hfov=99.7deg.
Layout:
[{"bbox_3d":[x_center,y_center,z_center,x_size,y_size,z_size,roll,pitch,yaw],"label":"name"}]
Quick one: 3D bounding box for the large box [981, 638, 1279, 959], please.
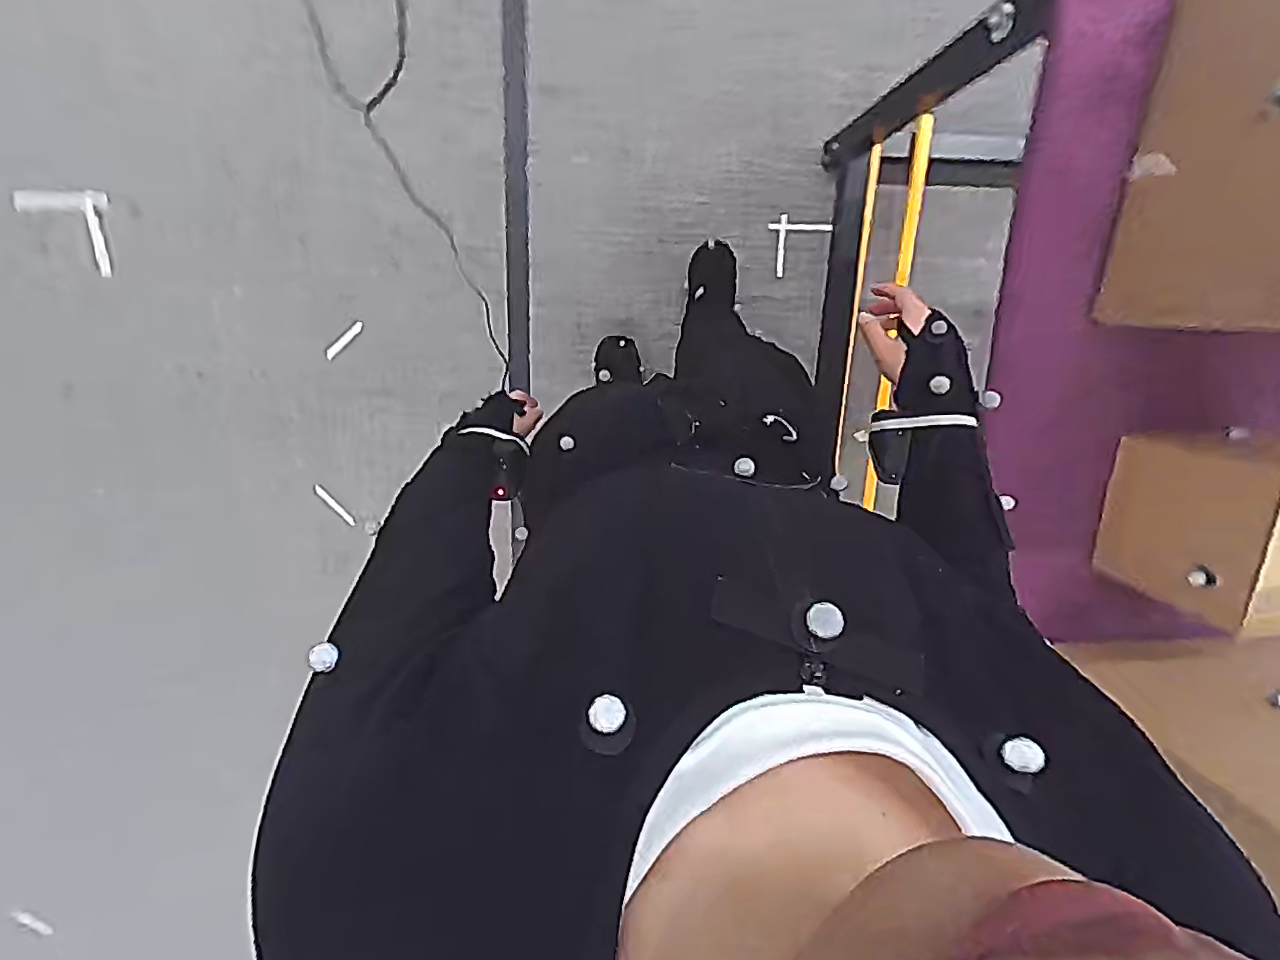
[{"bbox_3d":[0.700,0.404,0.623,0.408,0.320,0.320,0,106,-7],"label":"large box"}]
